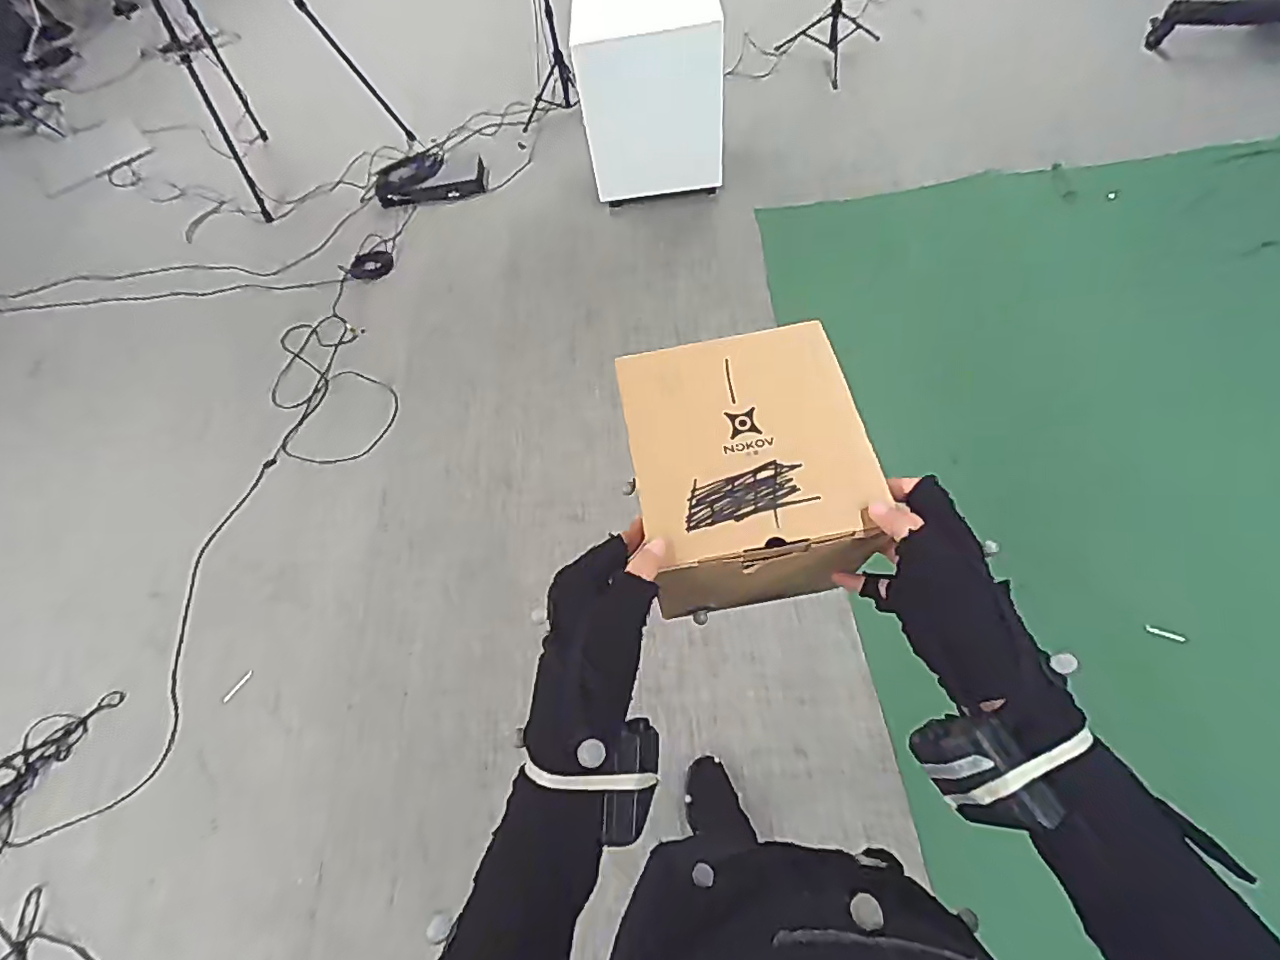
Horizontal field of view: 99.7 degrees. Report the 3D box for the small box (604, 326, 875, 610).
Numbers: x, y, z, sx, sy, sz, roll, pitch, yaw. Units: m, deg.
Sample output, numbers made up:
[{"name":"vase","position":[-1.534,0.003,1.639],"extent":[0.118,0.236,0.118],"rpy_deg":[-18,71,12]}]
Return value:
[{"name":"small box","position":[0.071,0.004,0.459],"extent":[0.168,0.176,0.179],"rpy_deg":[-10,63,1]}]
